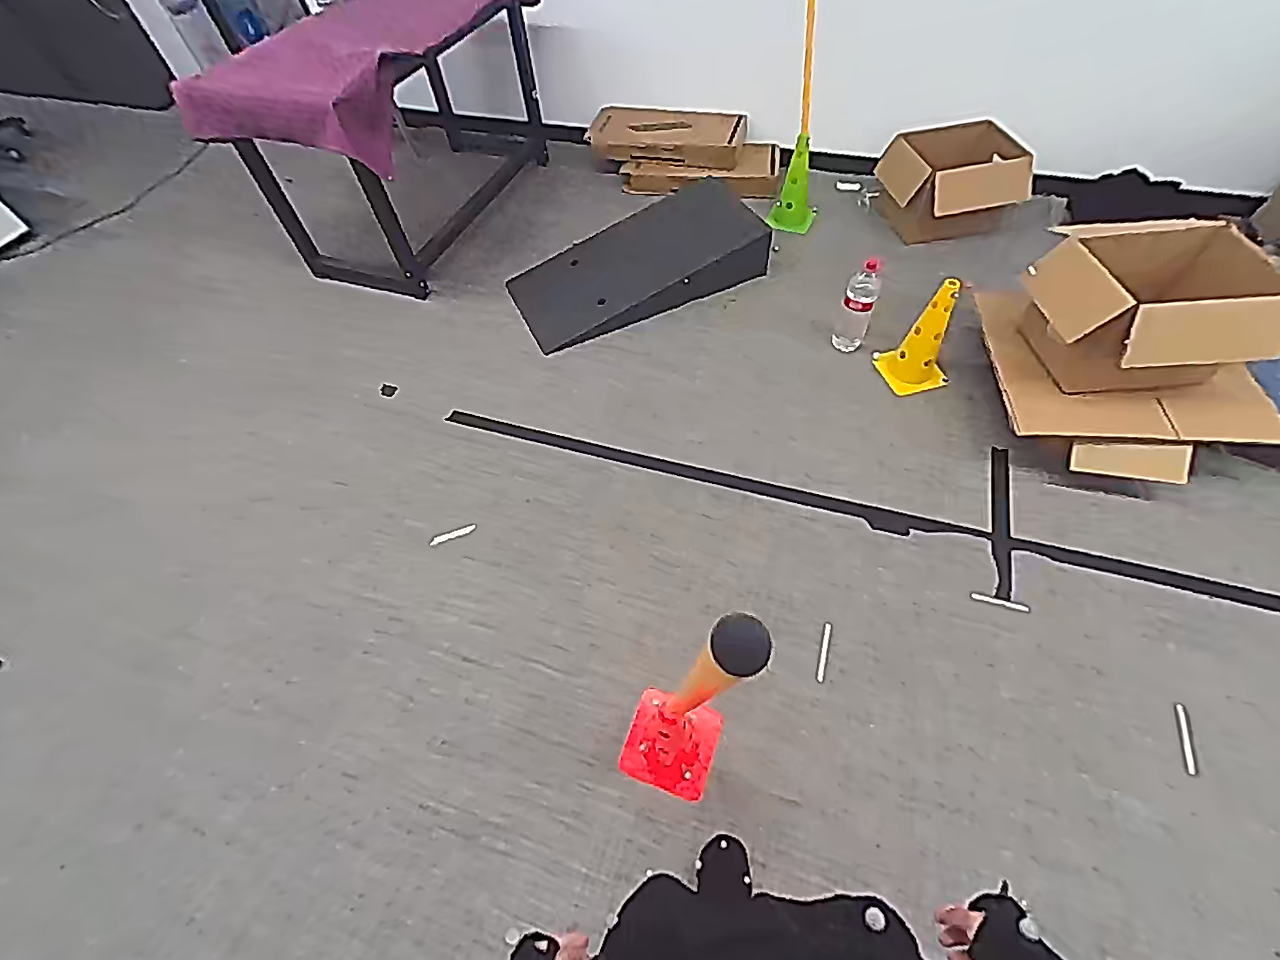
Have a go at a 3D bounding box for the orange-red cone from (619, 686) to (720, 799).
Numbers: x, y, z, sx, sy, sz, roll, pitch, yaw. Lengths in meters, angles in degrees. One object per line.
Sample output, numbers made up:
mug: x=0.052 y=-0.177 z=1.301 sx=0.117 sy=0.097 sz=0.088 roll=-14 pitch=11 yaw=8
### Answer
orange-red cone: x=0.062 y=0.507 z=1.113 sx=0.198 sy=0.360 sz=0.199 roll=18 pitch=58 yaw=14
